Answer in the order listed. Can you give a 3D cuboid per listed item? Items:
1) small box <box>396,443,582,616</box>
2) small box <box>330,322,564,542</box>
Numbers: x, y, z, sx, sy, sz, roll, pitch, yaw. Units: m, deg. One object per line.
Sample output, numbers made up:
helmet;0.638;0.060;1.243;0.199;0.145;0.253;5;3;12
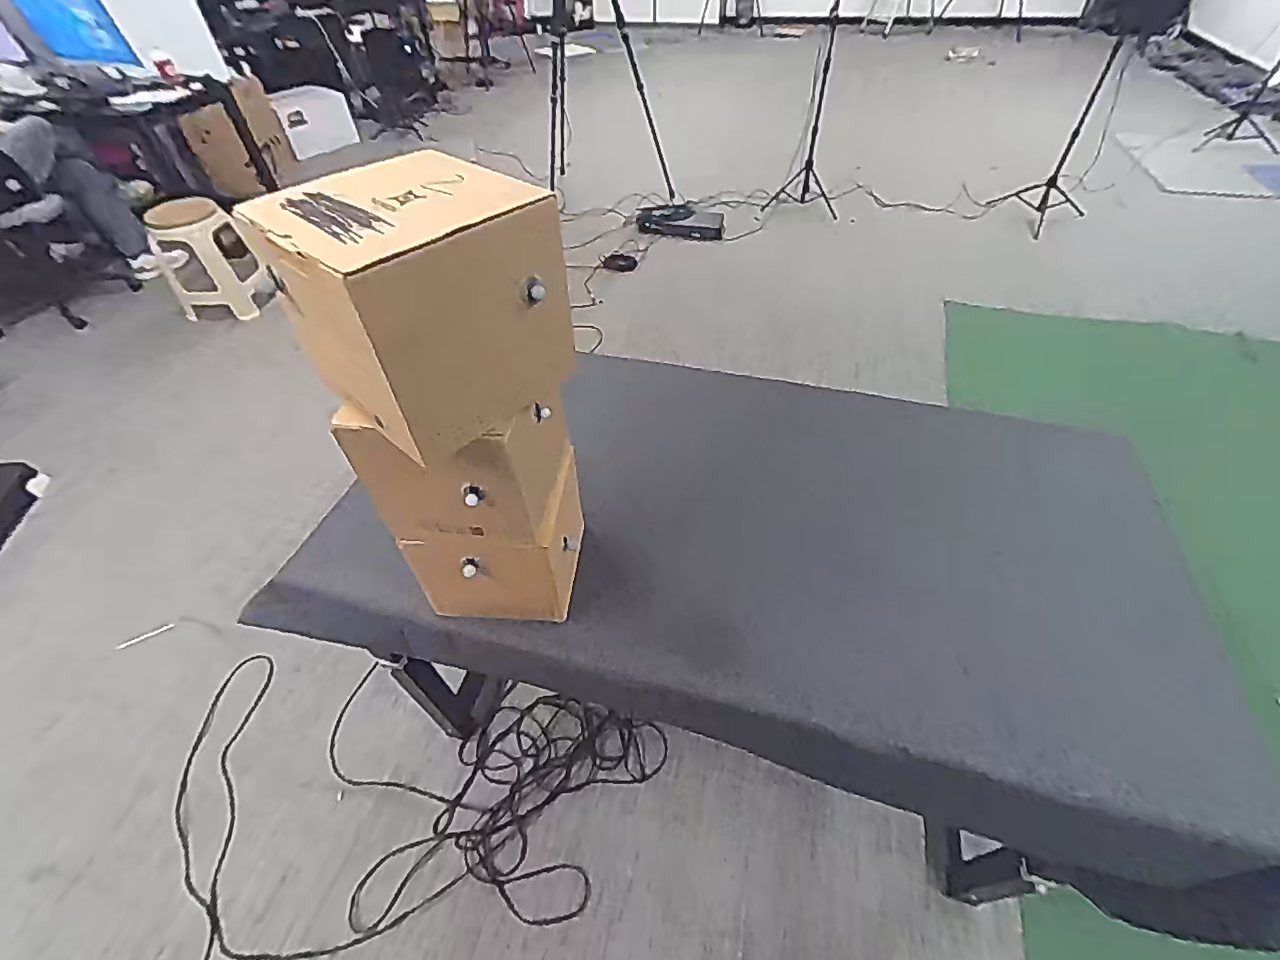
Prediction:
small box;-0.176;0.064;0.704;0.179;0.176;0.168;2;47;5
small box;-0.186;-0.051;0.588;0.168;0.176;0.179;5;46;5
